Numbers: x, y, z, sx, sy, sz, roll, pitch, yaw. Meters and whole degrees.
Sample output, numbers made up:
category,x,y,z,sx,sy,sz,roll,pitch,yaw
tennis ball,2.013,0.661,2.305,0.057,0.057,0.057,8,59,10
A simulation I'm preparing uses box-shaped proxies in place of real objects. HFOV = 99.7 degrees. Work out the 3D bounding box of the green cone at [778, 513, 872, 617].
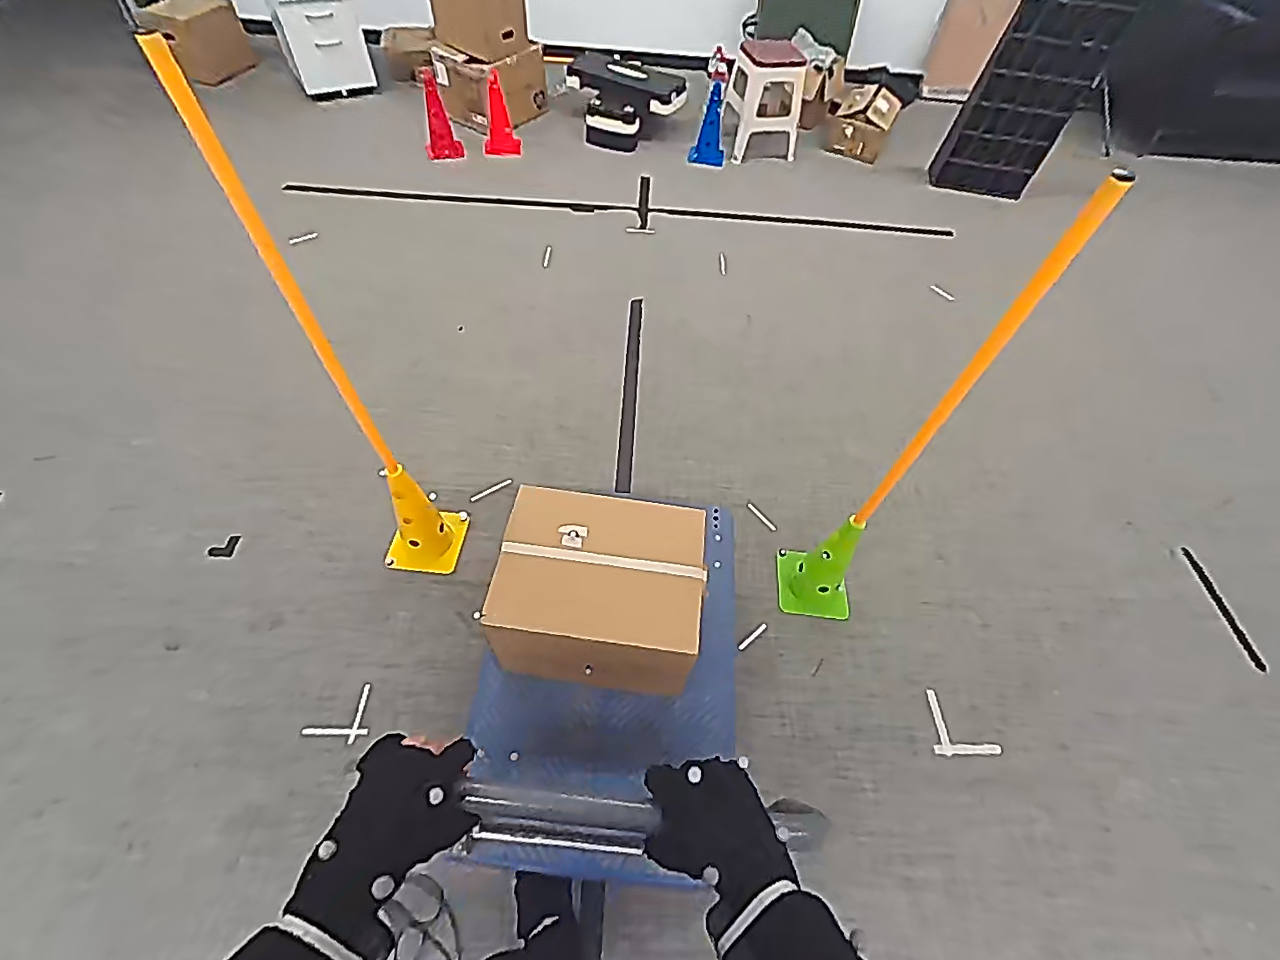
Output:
category,x,y,z,sx,sy,sz,roll,pitch,yaw
green cone,0.522,0.201,1.451,0.202,0.368,0.200,8,55,-1

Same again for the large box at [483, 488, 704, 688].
category,x,y,z,sx,sy,sz,roll,pitch,yaw
large box,-0.081,0.248,1.195,0.408,0.320,0.320,8,55,2
